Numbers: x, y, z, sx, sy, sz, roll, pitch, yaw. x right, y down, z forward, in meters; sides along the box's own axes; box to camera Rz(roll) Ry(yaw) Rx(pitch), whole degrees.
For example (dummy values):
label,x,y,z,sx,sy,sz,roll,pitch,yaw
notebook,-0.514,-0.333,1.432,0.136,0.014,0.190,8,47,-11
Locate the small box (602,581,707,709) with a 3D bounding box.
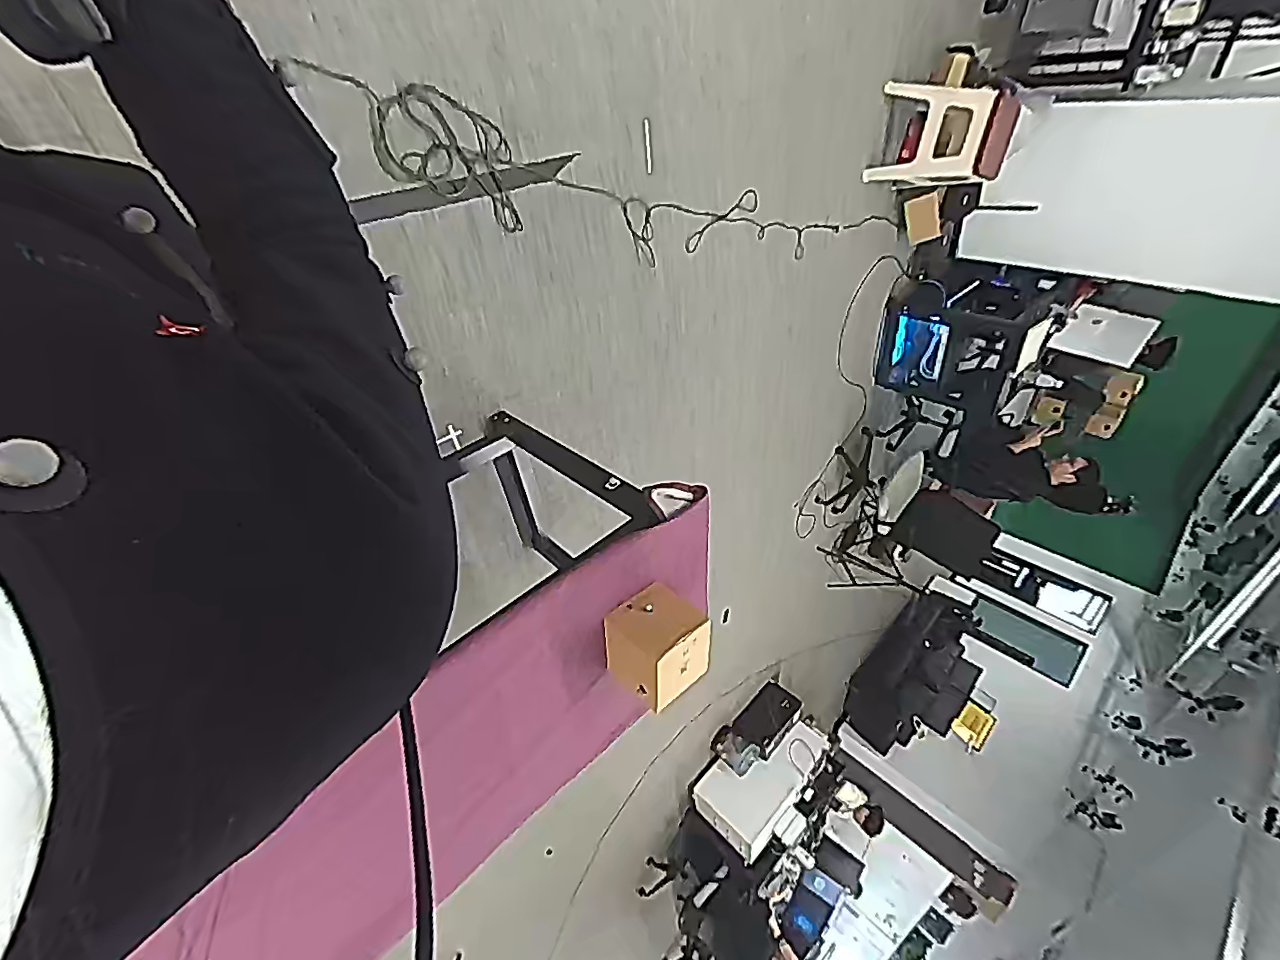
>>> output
label,x,y,z,sx,sy,sz,roll,pitch,yaw
small box,0.030,0.362,1.213,0.168,0.176,0.179,-28,131,-36
